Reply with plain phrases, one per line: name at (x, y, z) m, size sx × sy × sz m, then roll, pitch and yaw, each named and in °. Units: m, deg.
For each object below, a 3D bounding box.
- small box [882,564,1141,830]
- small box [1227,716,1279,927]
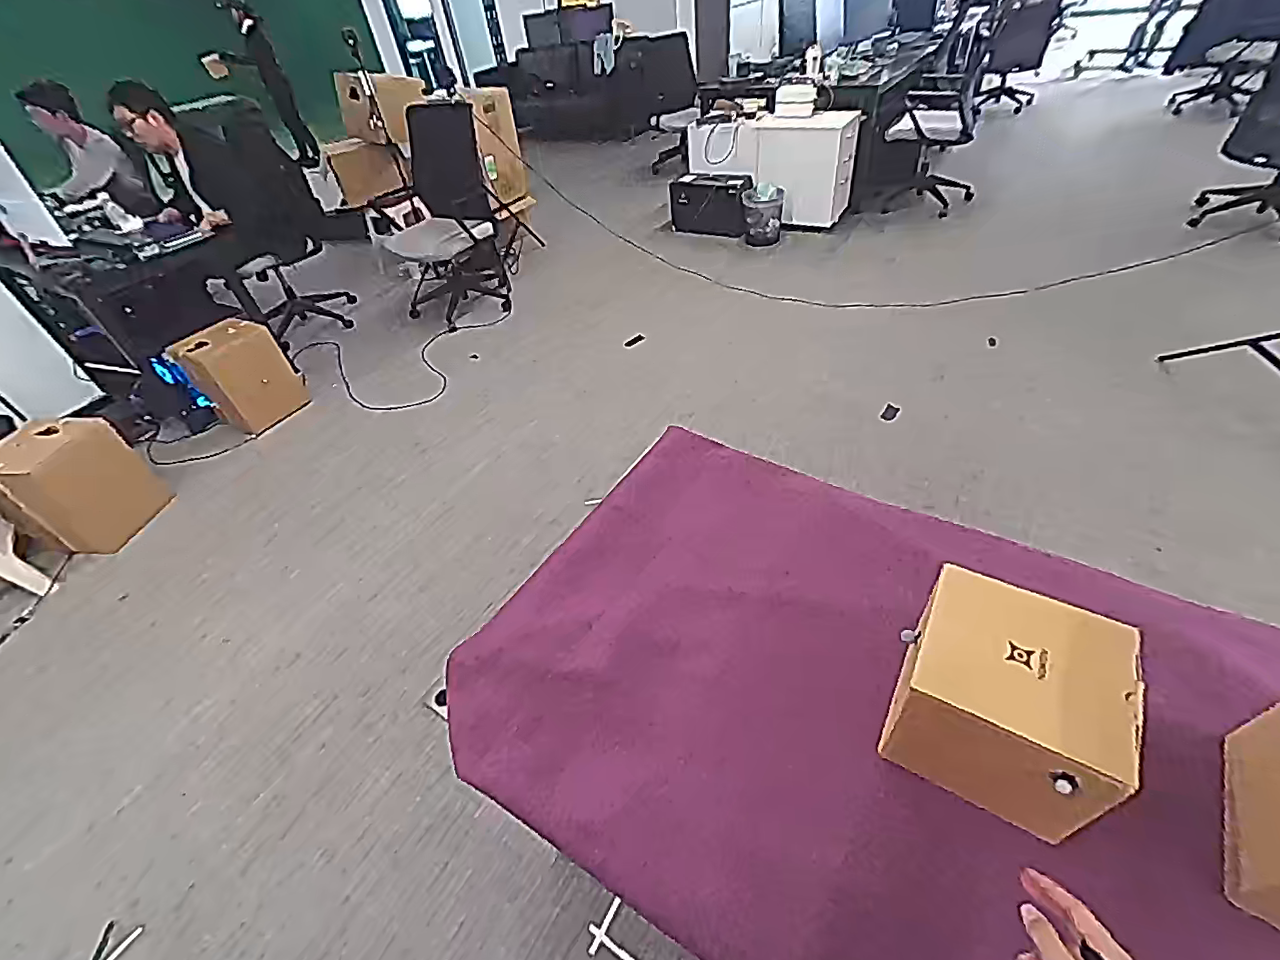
small box at (0.375, 0.226, 0.567) m, size 0.179 × 0.176 × 0.168 m, roll 20°, pitch 50°, yaw 26°
small box at (0.642, 0.300, 0.445) m, size 0.168 × 0.176 × 0.179 m, roll 23°, pitch 52°, yaw 29°
